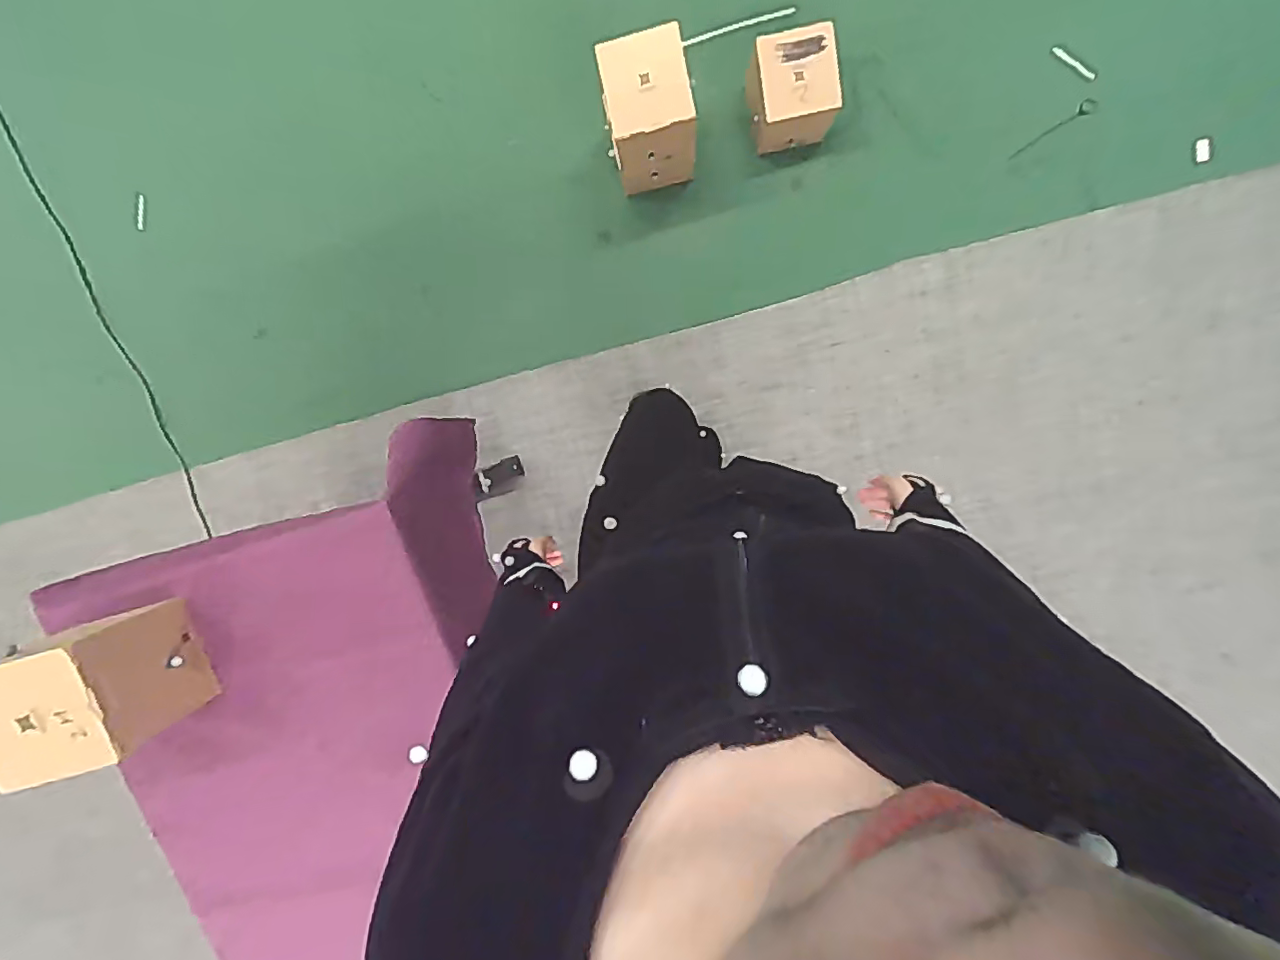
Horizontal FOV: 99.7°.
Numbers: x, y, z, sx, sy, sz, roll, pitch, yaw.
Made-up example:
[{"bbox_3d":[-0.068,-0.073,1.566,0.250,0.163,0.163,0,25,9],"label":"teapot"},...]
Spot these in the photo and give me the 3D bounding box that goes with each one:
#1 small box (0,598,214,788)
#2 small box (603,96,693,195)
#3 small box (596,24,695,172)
[{"bbox_3d":[-0.764,0.286,0.759,0.179,0.176,0.168,-15,99,2],"label":"small box"},{"bbox_3d":[0.023,-0.808,1.283,0.179,0.176,0.168,-13,98,6],"label":"small box"},{"bbox_3d":[0.014,-0.781,1.123,0.168,0.176,0.179,-12,98,6],"label":"small box"}]
